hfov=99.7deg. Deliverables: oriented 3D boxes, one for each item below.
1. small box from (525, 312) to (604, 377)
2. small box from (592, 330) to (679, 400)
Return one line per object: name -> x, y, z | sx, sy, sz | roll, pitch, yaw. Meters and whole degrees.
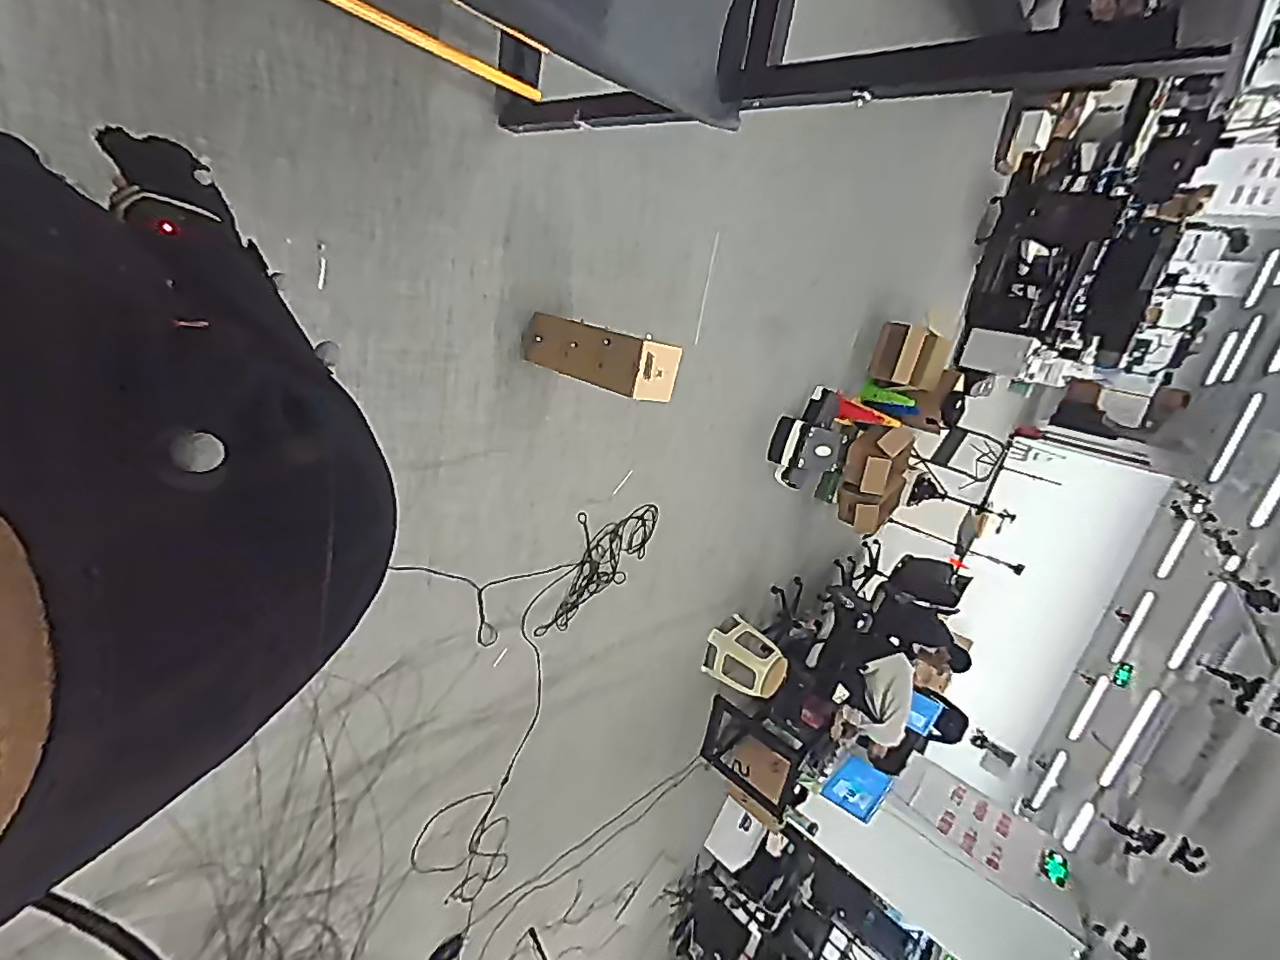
small box -> -0.253, -0.452, 1.798 | 0.179, 0.176, 0.168 | -2, 111, -49
small box -> -0.018, -0.341, 1.602 | 0.179, 0.176, 0.168 | -5, 115, -49
